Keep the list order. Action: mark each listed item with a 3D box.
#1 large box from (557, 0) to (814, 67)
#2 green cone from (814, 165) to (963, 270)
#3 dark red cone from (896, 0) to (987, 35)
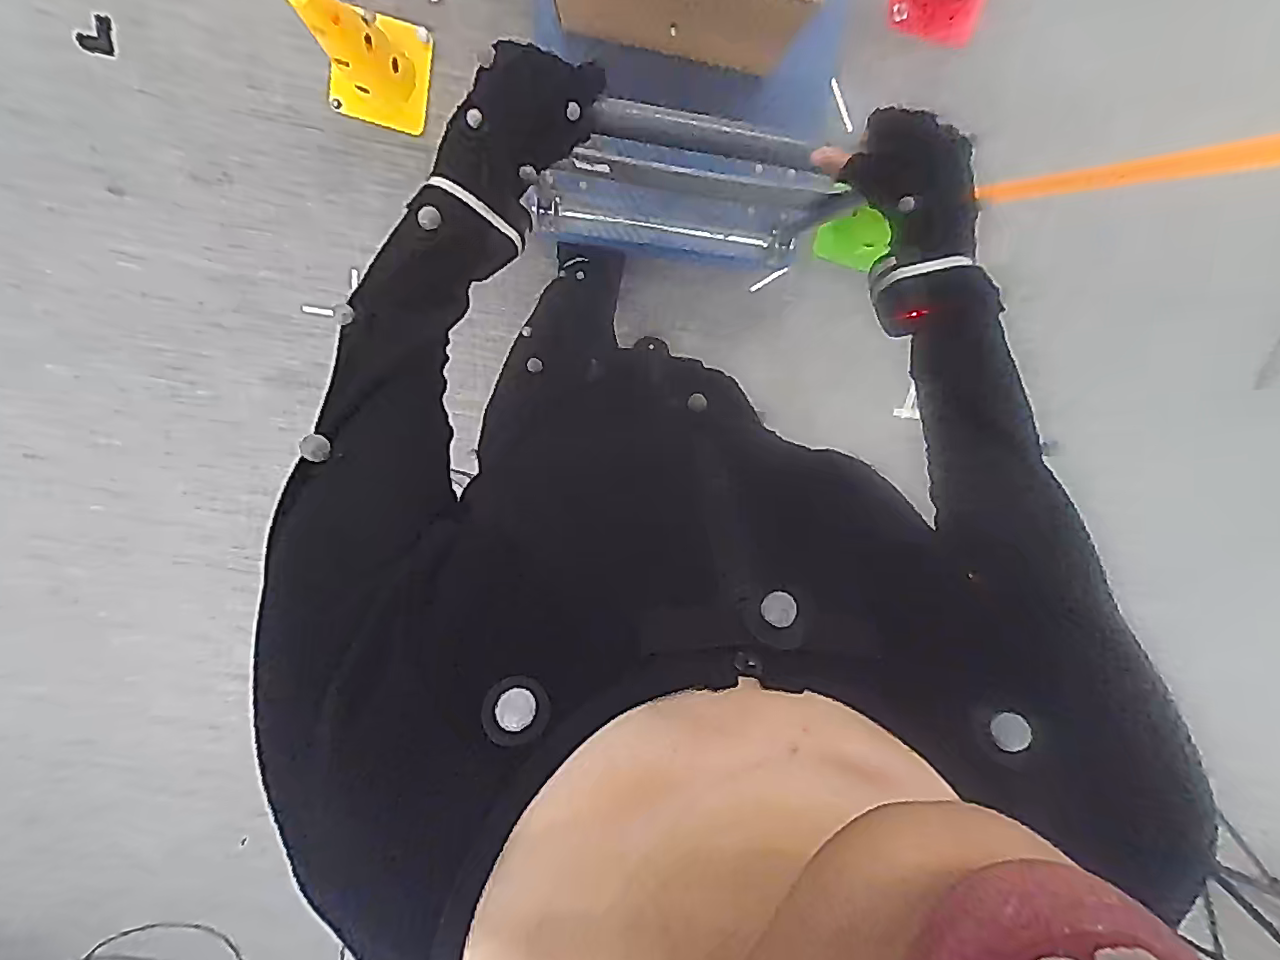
[{"bbox_3d":[0.078,-0.911,0.848,0.408,0.320,0.320,8,110,-5],"label":"large box"},{"bbox_3d":[0.553,-0.575,1.152,0.202,0.368,0.200,12,109,-9],"label":"green cone"},{"bbox_3d":[0.665,-1.015,0.980,0.201,0.394,0.202,8,110,-8],"label":"dark red cone"}]
